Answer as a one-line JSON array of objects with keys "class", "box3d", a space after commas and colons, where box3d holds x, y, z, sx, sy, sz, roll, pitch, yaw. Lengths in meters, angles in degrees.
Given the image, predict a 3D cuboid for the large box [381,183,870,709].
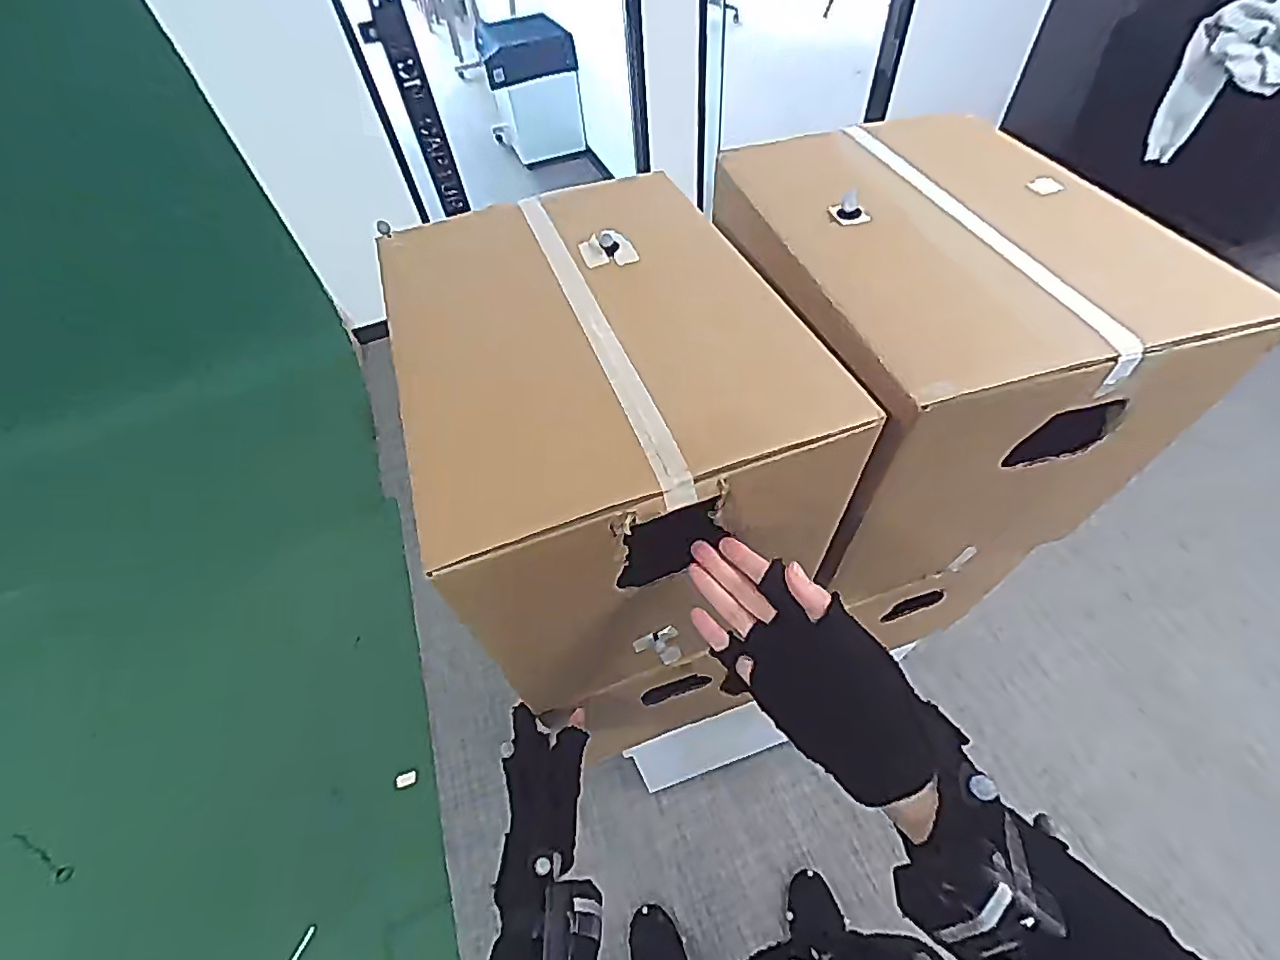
[{"class": "large box", "box3d": [-0.040, -0.046, 0.571, 0.320, 0.320, 0.408, -18, 52, -10]}]
